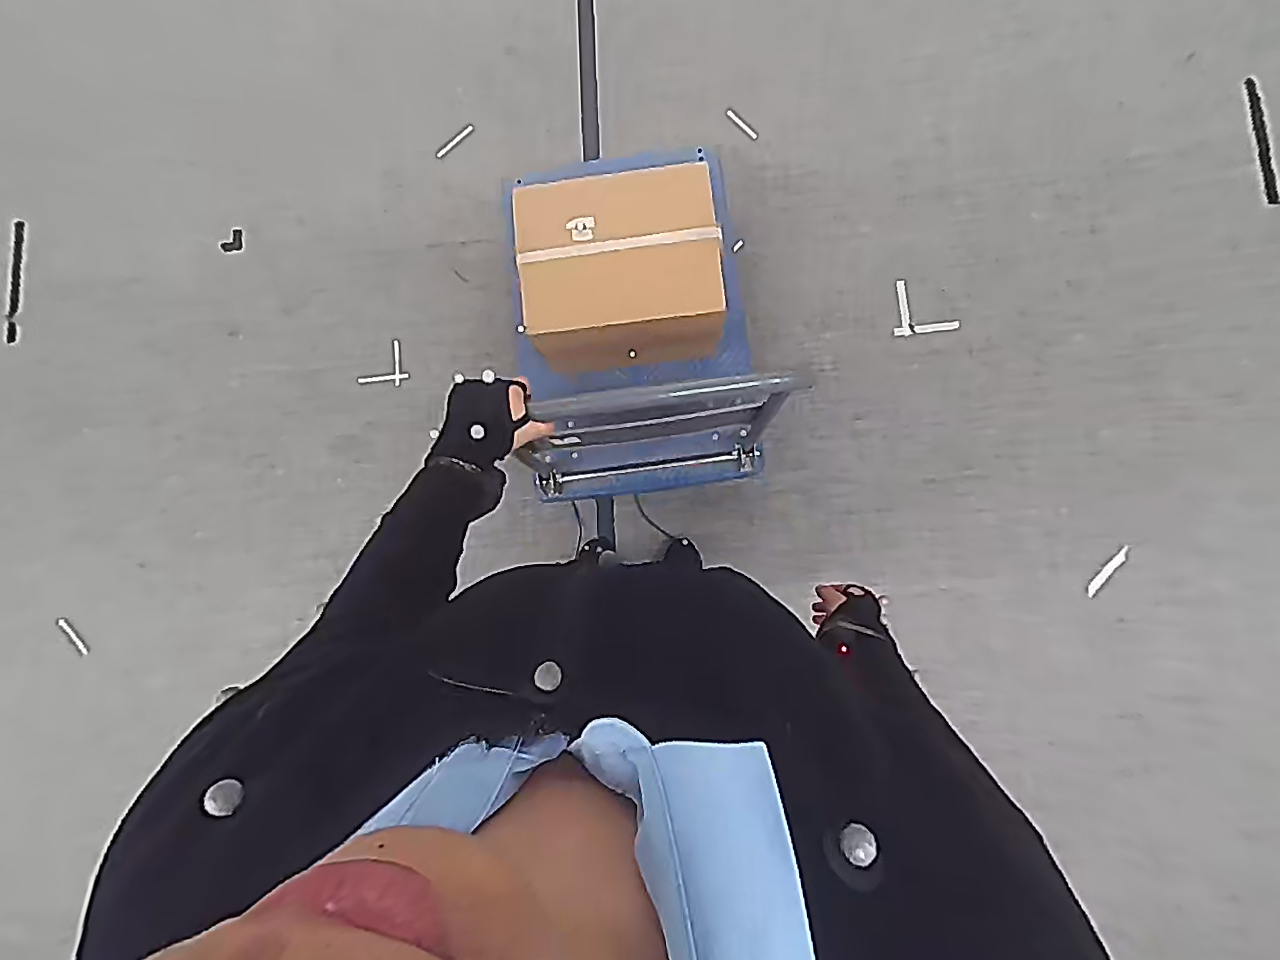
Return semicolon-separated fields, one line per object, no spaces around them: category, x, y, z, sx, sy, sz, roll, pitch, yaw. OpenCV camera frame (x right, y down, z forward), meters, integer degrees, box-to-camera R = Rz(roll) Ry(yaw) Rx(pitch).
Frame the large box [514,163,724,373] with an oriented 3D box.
large box;-0.034;-0.455;1.239;0.408;0.320;0.320;-6;84;4
